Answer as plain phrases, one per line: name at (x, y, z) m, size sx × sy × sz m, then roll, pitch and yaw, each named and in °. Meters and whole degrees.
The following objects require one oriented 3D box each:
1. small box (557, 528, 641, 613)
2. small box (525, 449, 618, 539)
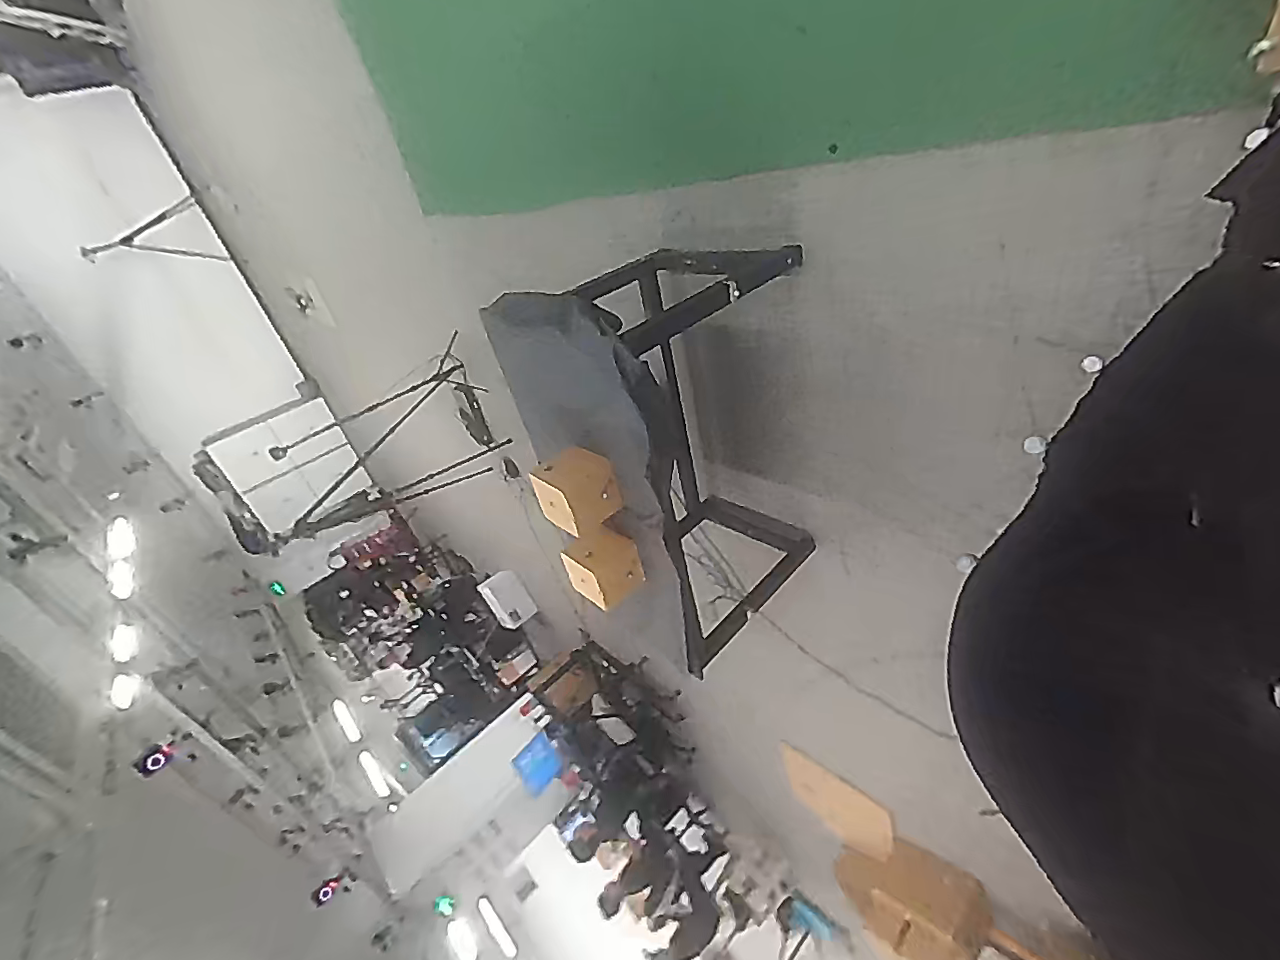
small box at (-0.124, 0.272, 1.681) m, size 0.179 × 0.176 × 0.168 m, roll 23°, pitch 138°, yaw 42°
small box at (-0.188, 0.031, 1.518) m, size 0.179 × 0.176 × 0.168 m, roll 23°, pitch 139°, yaw 42°
